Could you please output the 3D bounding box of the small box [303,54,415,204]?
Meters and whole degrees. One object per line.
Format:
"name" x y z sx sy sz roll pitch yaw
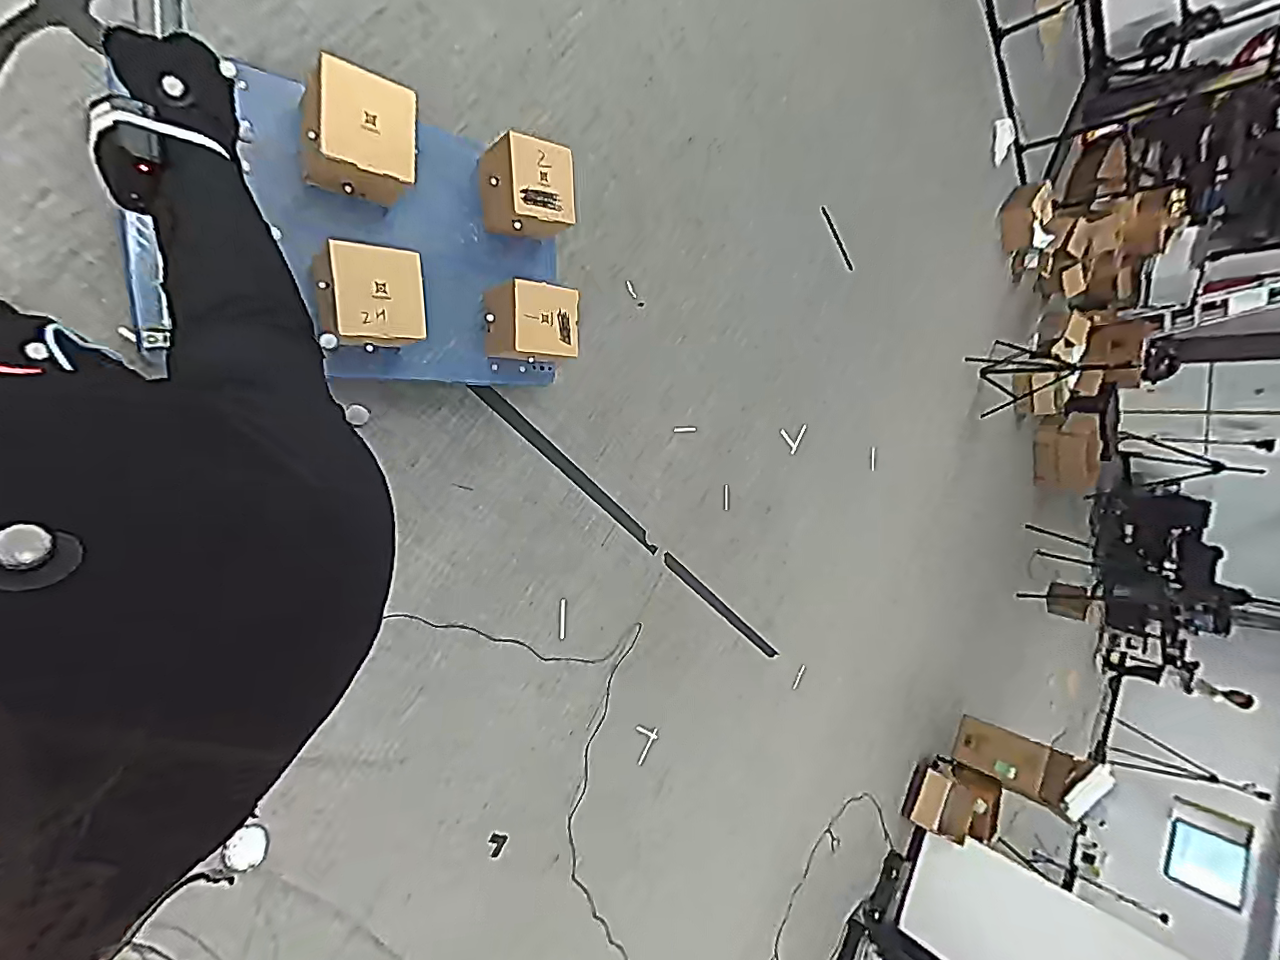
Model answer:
"small box" -0.563 -0.683 1.079 0.168 0.176 0.179 -2 99 -42

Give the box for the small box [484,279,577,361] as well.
"small box" -0.277 -0.394 1.364 0.179 0.176 0.168 -4 98 -39

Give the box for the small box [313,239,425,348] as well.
"small box" -0.562 -0.375 1.119 0.168 0.176 0.179 -8 101 -40
